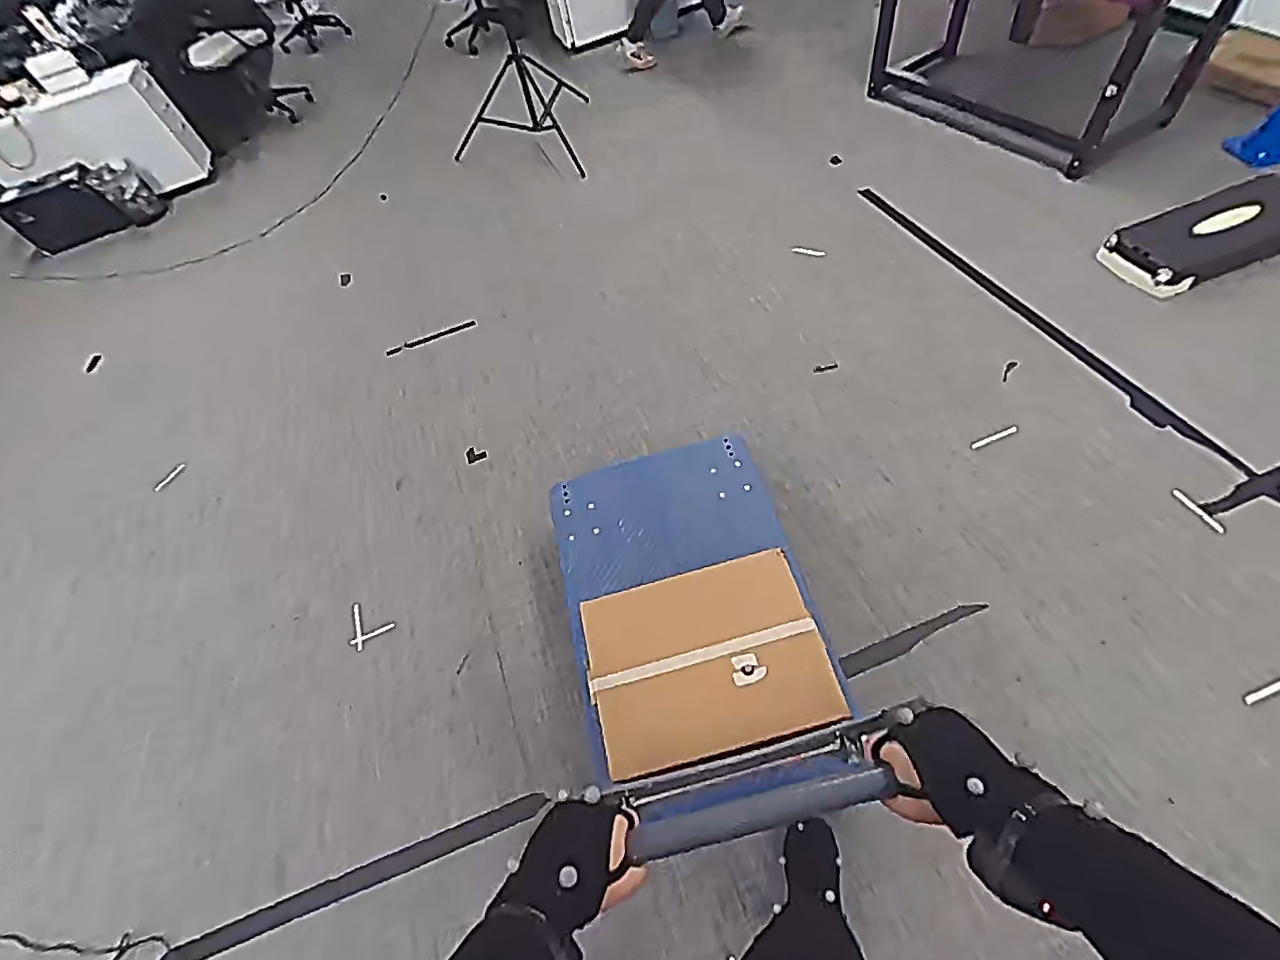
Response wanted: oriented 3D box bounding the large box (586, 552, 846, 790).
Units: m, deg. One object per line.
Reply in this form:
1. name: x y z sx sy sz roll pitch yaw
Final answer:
1. large box: 0.138 0.397 1.096 0.408 0.320 0.320 -16 58 -1
